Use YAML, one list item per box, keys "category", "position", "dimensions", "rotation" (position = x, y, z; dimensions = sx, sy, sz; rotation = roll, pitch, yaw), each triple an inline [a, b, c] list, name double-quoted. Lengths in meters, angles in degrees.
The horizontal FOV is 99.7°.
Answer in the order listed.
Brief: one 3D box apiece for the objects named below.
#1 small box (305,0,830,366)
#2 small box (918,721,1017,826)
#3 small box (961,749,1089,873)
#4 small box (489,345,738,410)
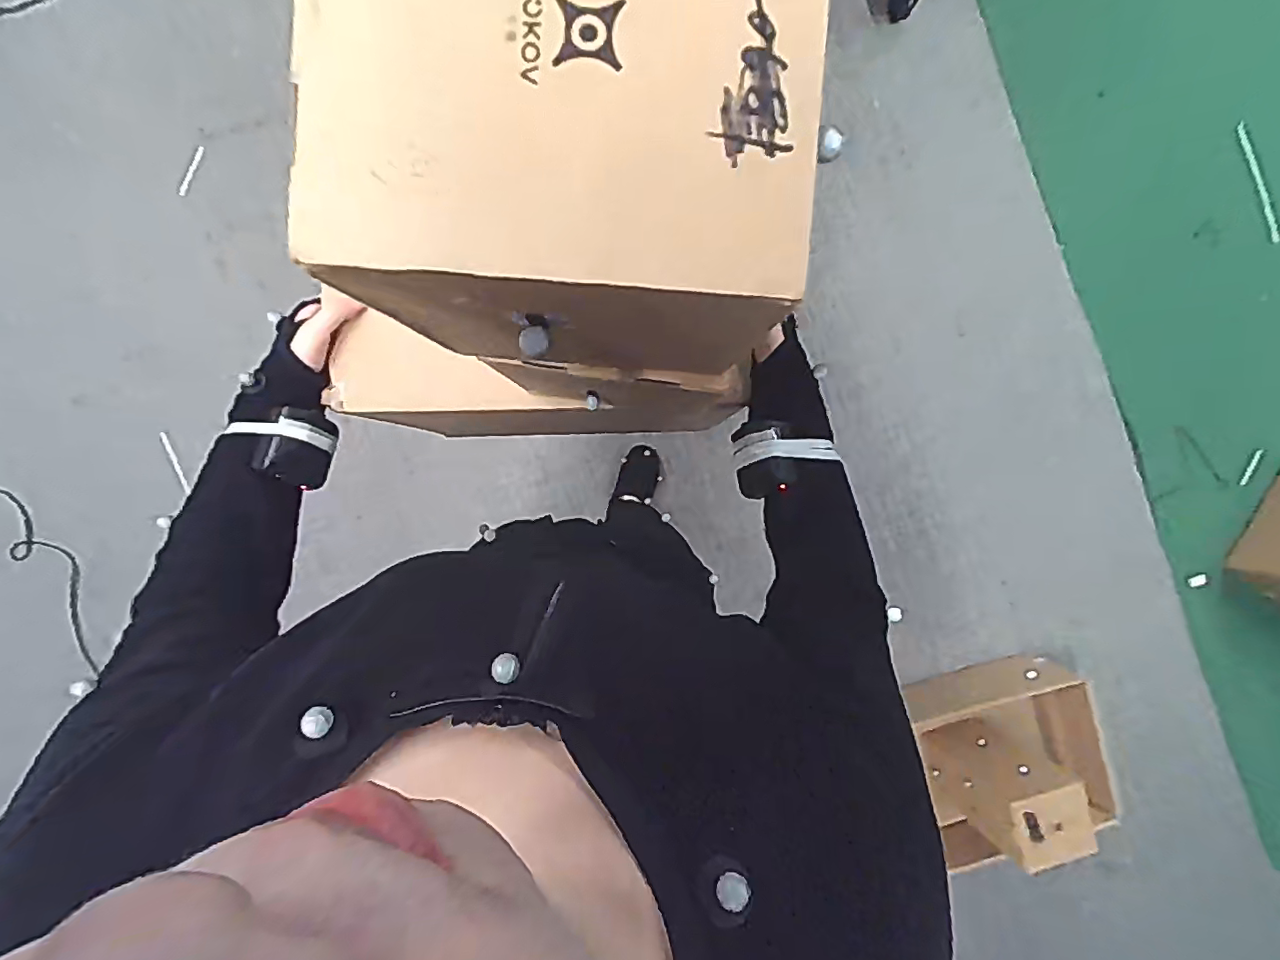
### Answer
- category: "small box"
  position: [-0.022, -0.153, 0.262]
  dimensions: [0.179, 0.176, 0.168]
  rotation: [4, 94, 1]
- category: "small box"
  position: [0.881, 0.769, 1.438]
  dimensions: [0.179, 0.176, 0.168]
  rotation: [-14, 91, -3]
- category: "small box"
  position: [0.892, 0.769, 1.274]
  dimensions: [0.179, 0.176, 0.168]
  rotation: [-13, 91, -5]
- category: "small box"
  position: [-0.010, -0.158, 0.426]
  dimensions: [0.168, 0.176, 0.179]
  rotation: [8, 93, -1]
